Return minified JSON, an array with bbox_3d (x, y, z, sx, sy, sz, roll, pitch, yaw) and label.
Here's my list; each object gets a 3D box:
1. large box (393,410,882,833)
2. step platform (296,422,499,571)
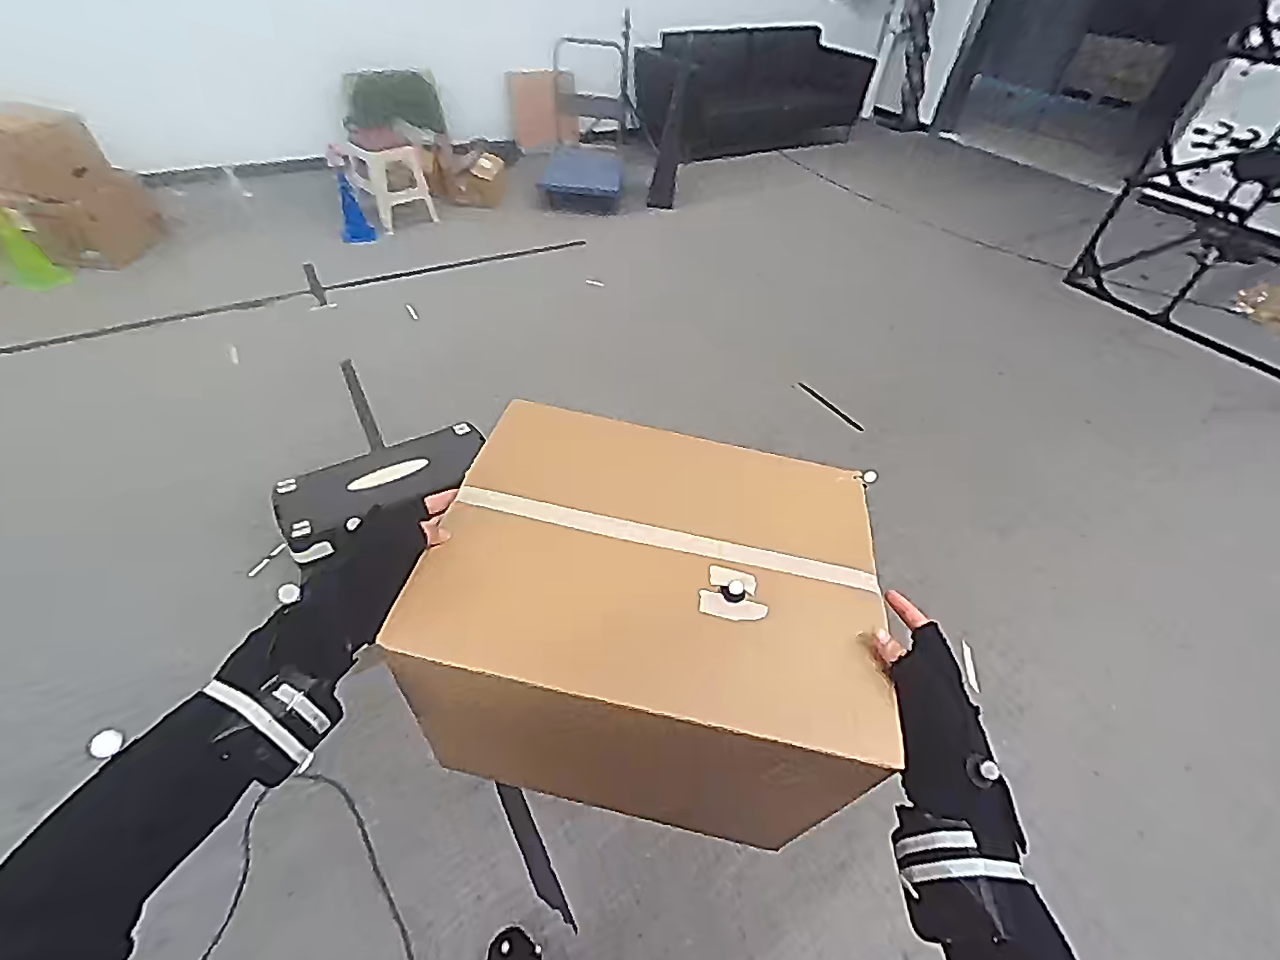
[{"bbox_3d":[-0.001,0.164,0.631,0.408,0.320,0.320,13,47,2],"label":"large box"},{"bbox_3d":[-0.774,0.033,1.848,0.684,0.204,0.286,-23,52,-26],"label":"step platform"}]
